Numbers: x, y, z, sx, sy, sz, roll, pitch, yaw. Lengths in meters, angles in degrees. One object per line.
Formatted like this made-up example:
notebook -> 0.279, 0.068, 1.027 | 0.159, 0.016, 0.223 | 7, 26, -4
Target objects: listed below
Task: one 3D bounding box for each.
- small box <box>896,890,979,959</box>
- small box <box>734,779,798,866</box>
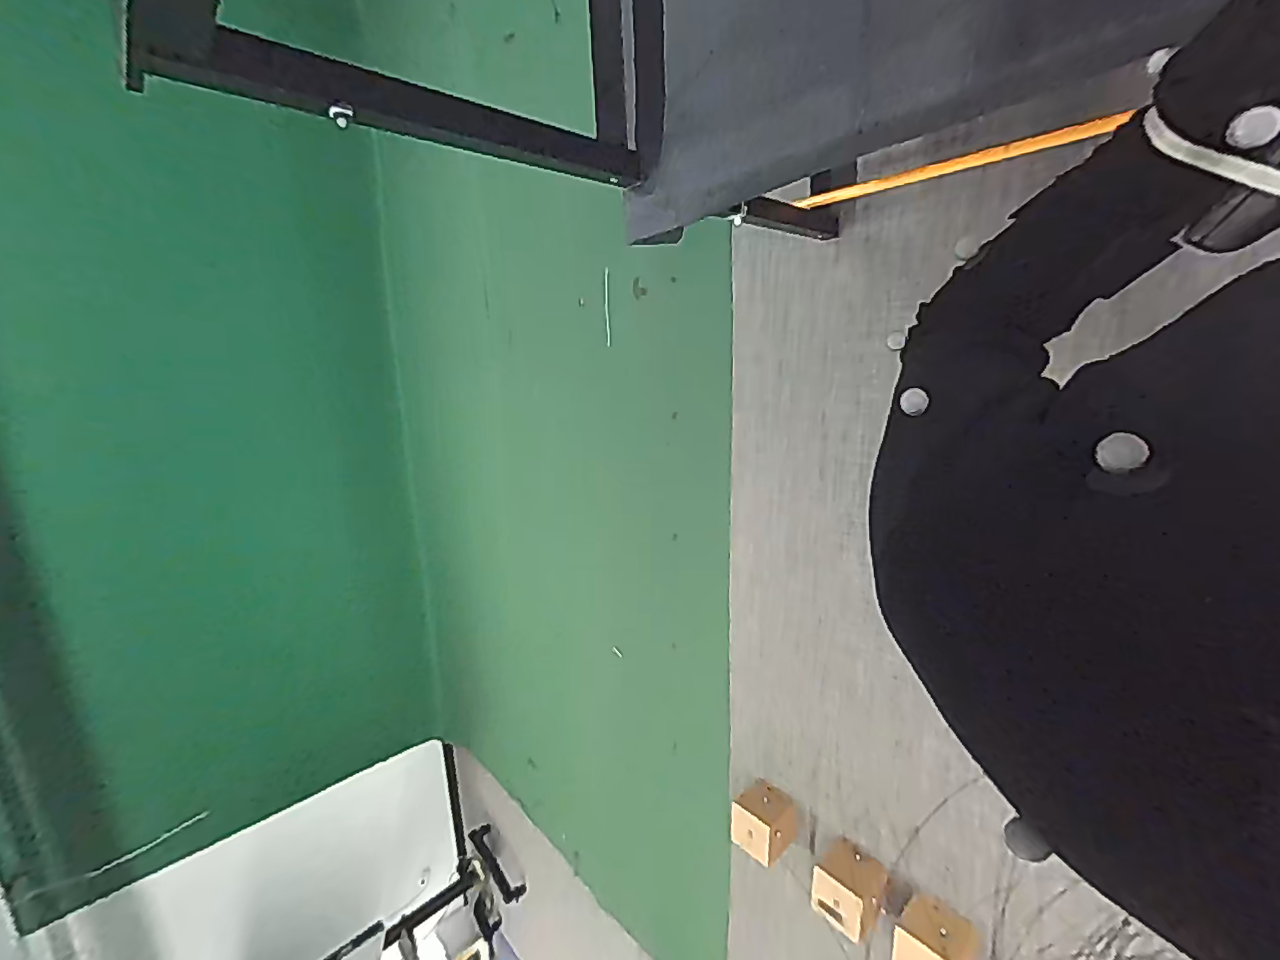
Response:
small box -> 0.863, 1.356, 1.568 | 0.168, 0.176, 0.179 | 12, 109, 46
small box -> 0.466, 1.250, 1.992 | 0.168, 0.176, 0.179 | 13, 109, 47
